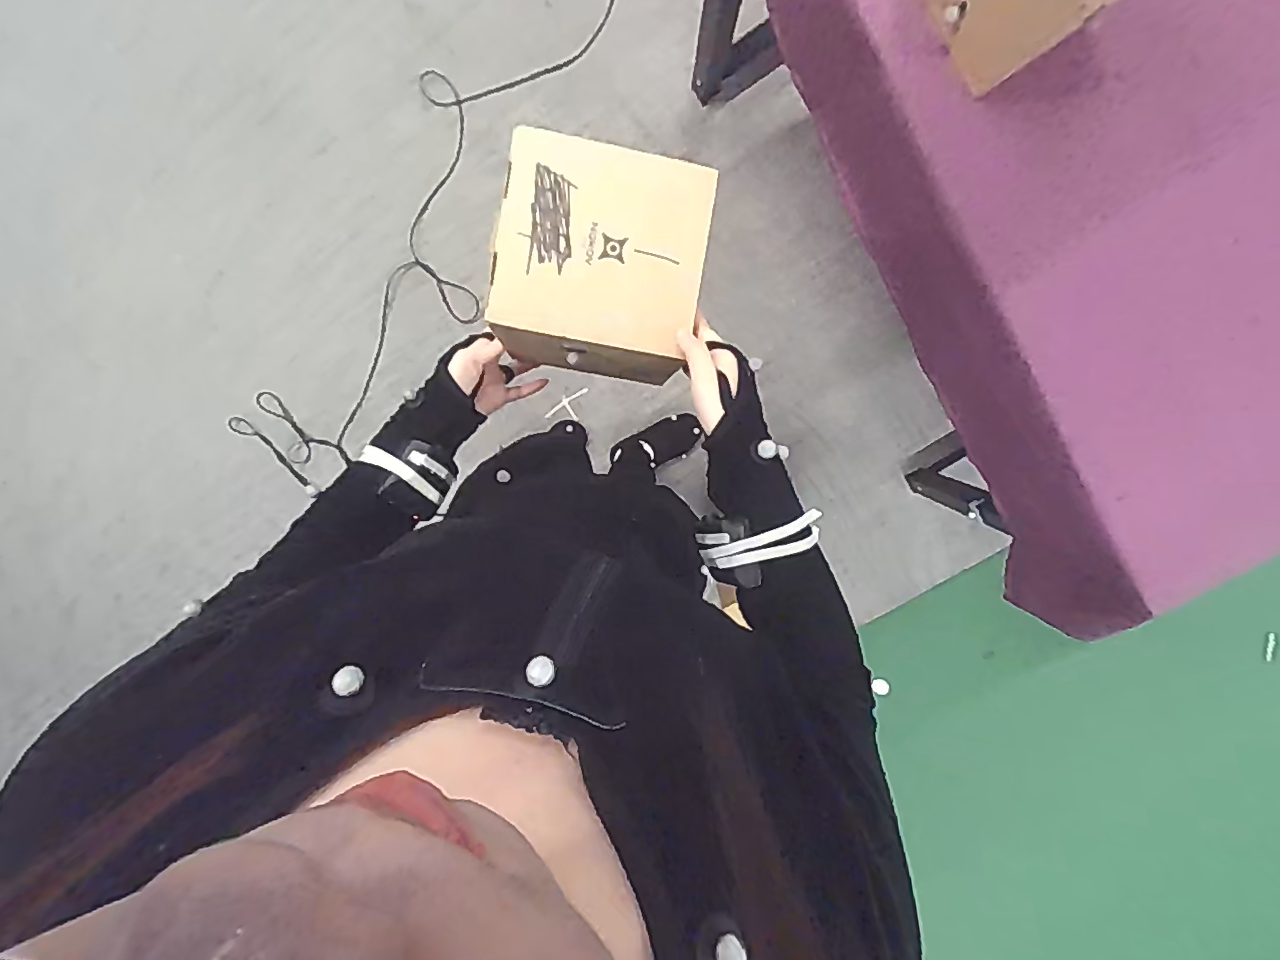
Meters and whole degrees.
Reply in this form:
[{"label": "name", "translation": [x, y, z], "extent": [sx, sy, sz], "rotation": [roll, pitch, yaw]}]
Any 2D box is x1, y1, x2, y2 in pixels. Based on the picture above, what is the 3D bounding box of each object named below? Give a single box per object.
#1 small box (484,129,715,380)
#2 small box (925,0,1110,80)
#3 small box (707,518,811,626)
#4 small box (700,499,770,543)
[{"label": "small box", "translation": [-0.041, -0.202, 0.539], "extent": [0.179, 0.176, 0.168], "rotation": [9, 91, -7]}, {"label": "small box", "translation": [0.413, -0.551, 0.541], "extent": [0.168, 0.176, 0.179], "rotation": [-33, 101, 6]}, {"label": "small box", "translation": [0.274, 0.208, 1.288], "extent": [0.168, 0.176, 0.179], "rotation": [-30, 102, 8]}, {"label": "small box", "translation": [0.271, 0.165, 1.444], "extent": [0.168, 0.176, 0.179], "rotation": [-27, 102, 6]}]
